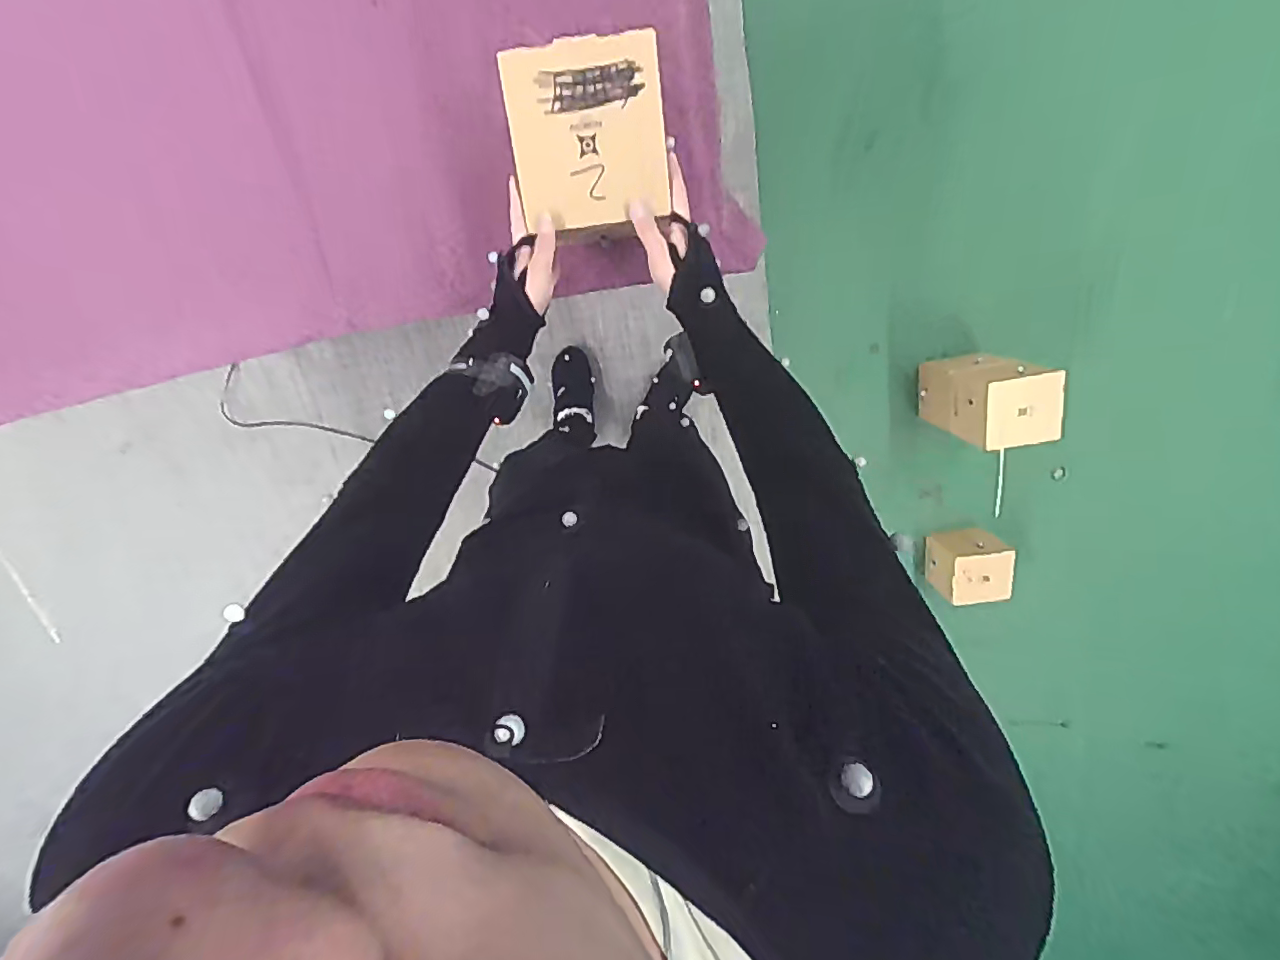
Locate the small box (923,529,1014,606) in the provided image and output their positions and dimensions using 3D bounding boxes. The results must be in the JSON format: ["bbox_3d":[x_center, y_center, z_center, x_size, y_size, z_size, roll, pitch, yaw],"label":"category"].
[{"bbox_3d":[1.003,0.263,1.665,0.179,0.176,0.168,-7,110,3],"label":"small box"}]

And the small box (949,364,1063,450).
[{"bbox_3d":[0.888,-0.184,1.331,0.179,0.176,0.168,-10,109,2],"label":"small box"}]

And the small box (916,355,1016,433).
[{"bbox_3d":[0.887,-0.241,1.482,0.179,0.176,0.168,-9,109,4],"label":"small box"}]
